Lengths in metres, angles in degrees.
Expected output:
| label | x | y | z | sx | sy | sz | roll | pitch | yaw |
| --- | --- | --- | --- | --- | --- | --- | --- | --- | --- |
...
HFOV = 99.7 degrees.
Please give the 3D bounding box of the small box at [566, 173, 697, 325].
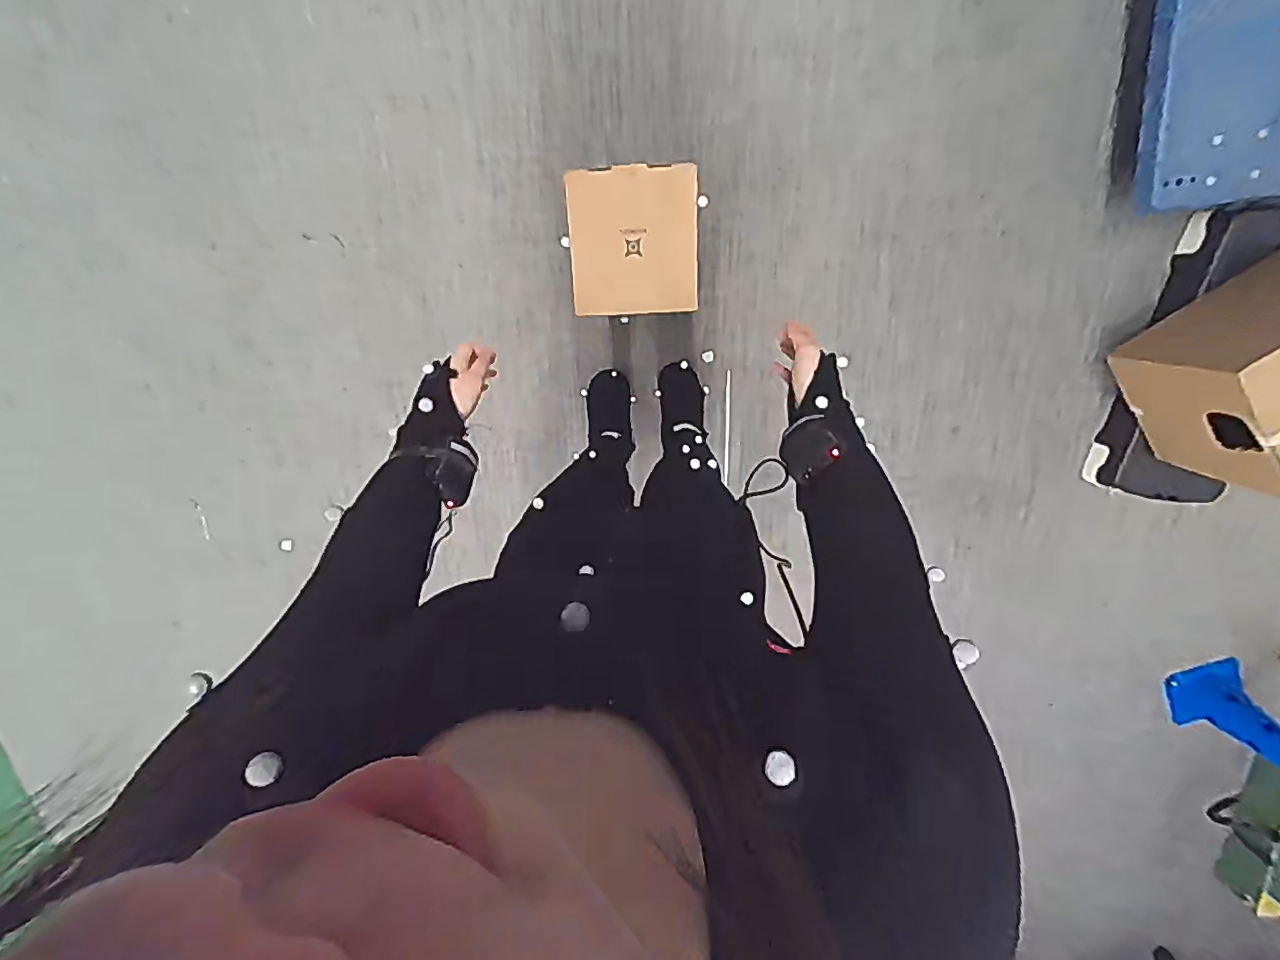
| label | x | y | z | sx | sy | sz | roll | pitch | yaw |
| --- | --- | --- | --- | --- | --- | --- | --- | --- | --- |
| small box | -0.005 | -0.319 | 0.767 | 0.168 | 0.176 | 0.179 | -1 | 109 | 3 |
